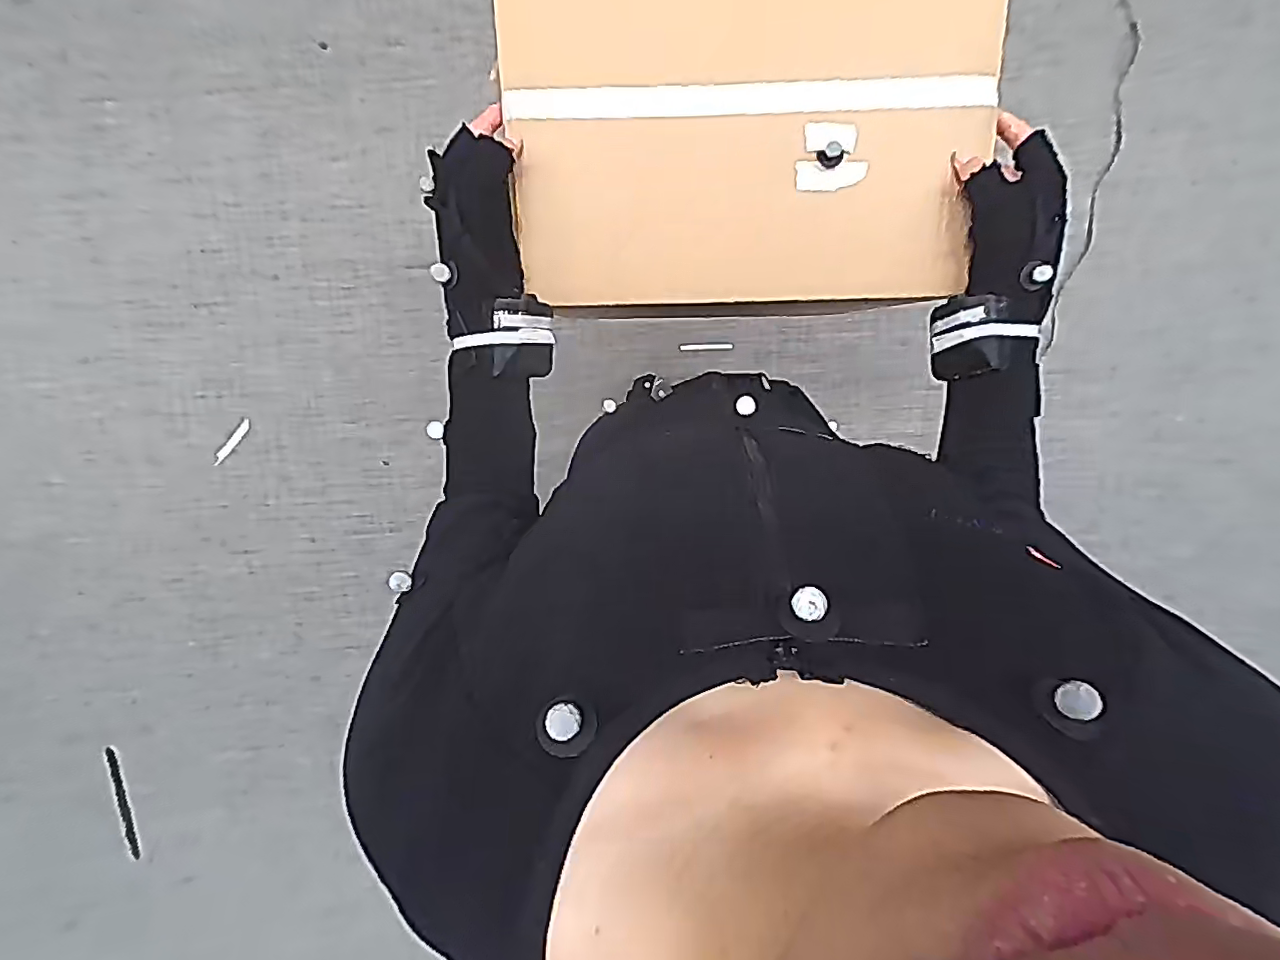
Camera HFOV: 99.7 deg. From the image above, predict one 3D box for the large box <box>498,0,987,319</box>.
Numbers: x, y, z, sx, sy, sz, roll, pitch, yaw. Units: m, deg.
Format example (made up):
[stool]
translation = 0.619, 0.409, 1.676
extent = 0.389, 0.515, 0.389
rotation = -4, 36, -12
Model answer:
[large box]
translation = 0.083, -0.355, 0.601
extent = 0.408, 0.320, 0.320
rotation = -2, 104, 0
